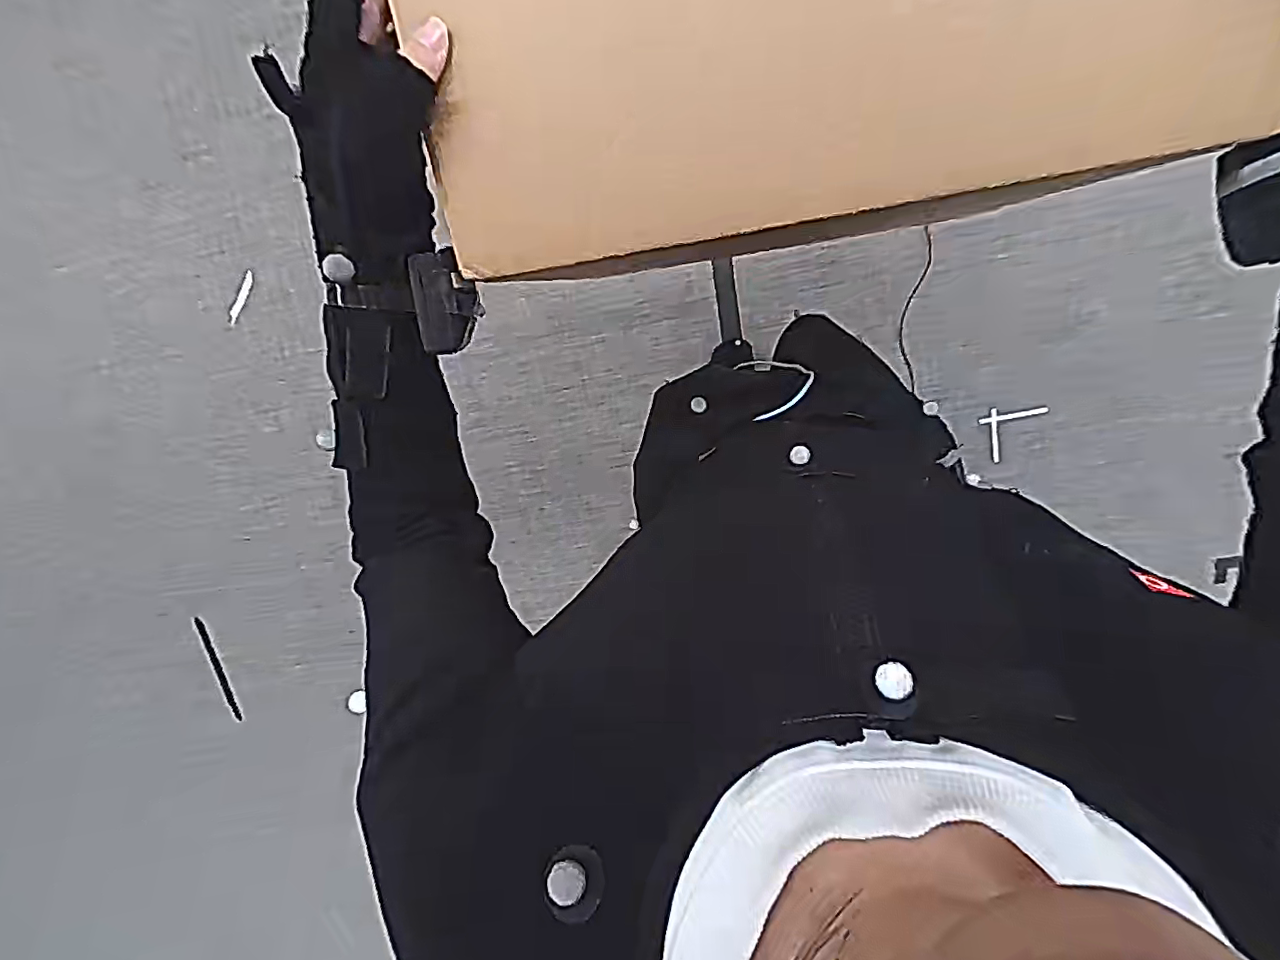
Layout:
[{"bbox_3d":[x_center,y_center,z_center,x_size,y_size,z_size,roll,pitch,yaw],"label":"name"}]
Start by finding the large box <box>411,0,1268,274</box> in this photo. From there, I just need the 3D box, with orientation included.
[{"bbox_3d":[0.088,-0.344,0.382,0.408,0.320,0.320,-6,110,10],"label":"large box"}]
